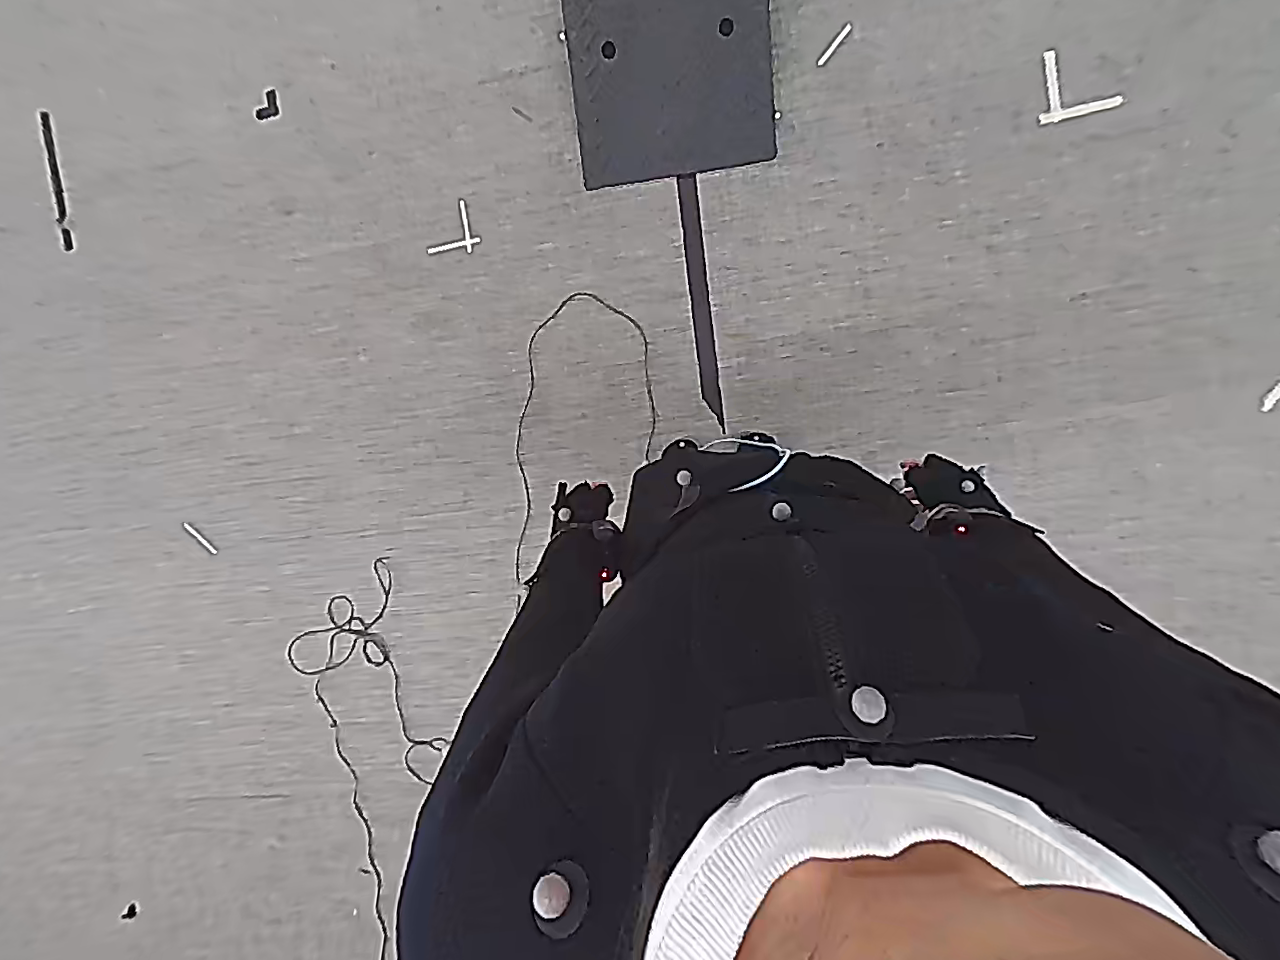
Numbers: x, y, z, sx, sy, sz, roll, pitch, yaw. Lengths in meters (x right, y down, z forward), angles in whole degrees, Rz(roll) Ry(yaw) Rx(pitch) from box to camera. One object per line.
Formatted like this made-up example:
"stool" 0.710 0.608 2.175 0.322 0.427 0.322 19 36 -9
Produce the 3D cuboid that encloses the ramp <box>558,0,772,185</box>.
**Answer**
"ramp" 0.033 -1.263 1.246 0.509 0.206 0.991 -7 95 7
